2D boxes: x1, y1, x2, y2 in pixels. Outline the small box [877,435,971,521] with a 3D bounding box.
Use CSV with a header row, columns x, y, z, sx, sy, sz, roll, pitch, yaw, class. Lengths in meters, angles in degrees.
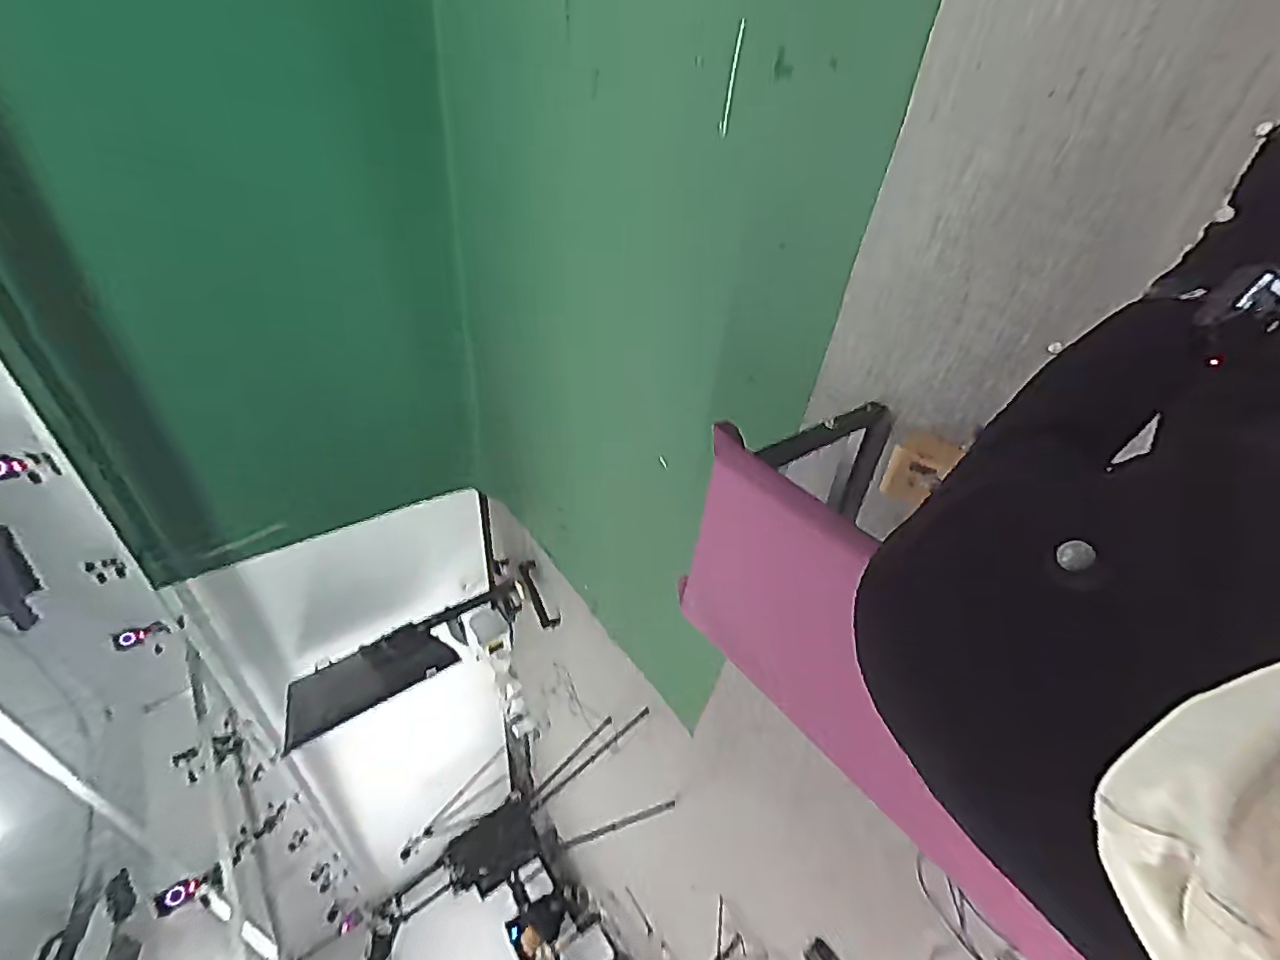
x,y,z,sx,sy,sz,roll,pitch,yaw,class
0.846,-0.014,1.606,0.168,0.176,0.179,37,137,39,small box
